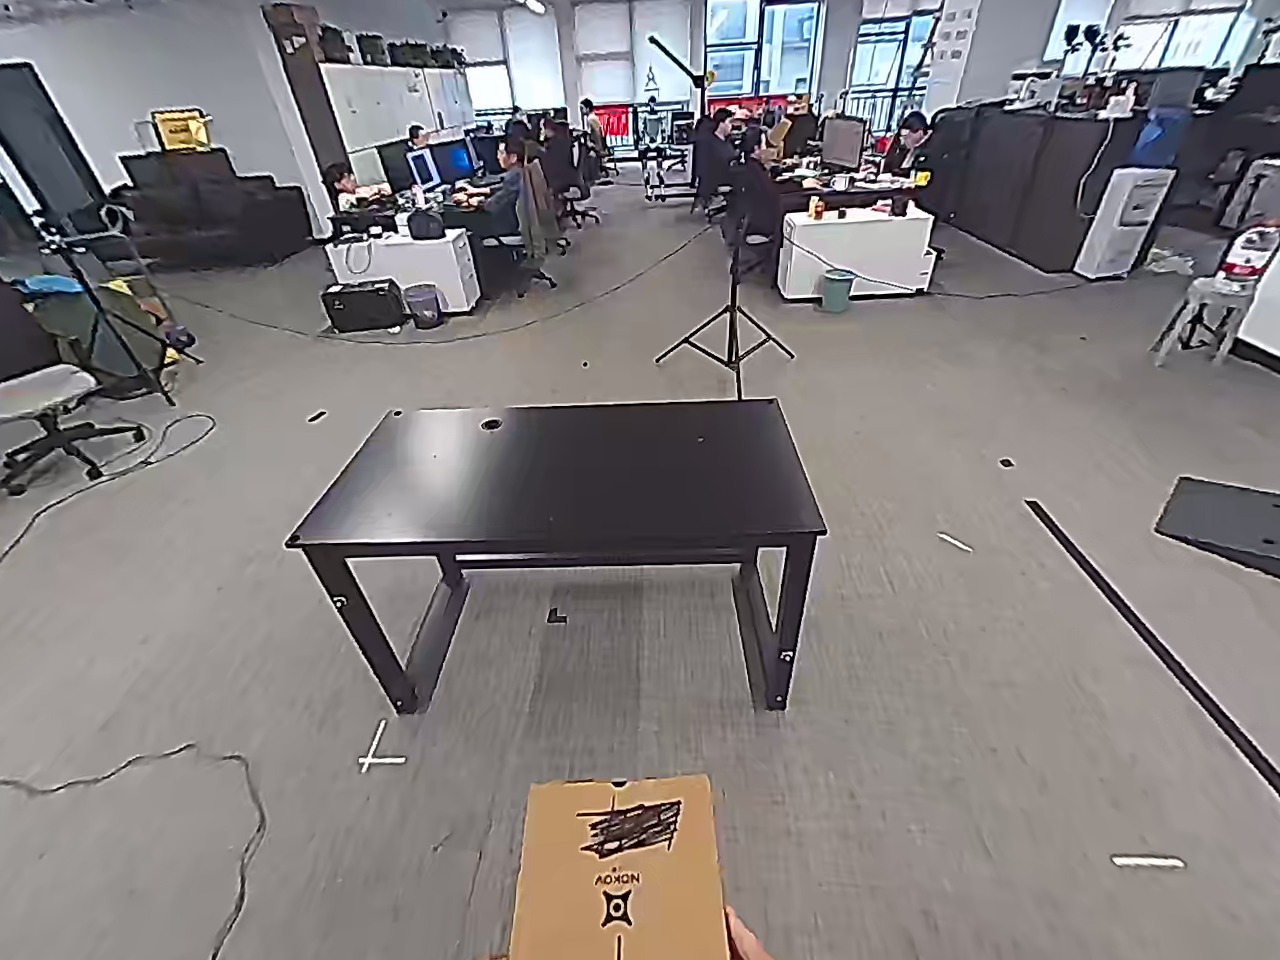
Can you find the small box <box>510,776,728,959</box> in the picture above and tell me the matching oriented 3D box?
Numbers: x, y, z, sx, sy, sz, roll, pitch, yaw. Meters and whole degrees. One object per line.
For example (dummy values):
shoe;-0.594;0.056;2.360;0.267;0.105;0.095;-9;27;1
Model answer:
small box;-0.012;0.395;0.484;0.168;0.176;0.179;-5;40;1
